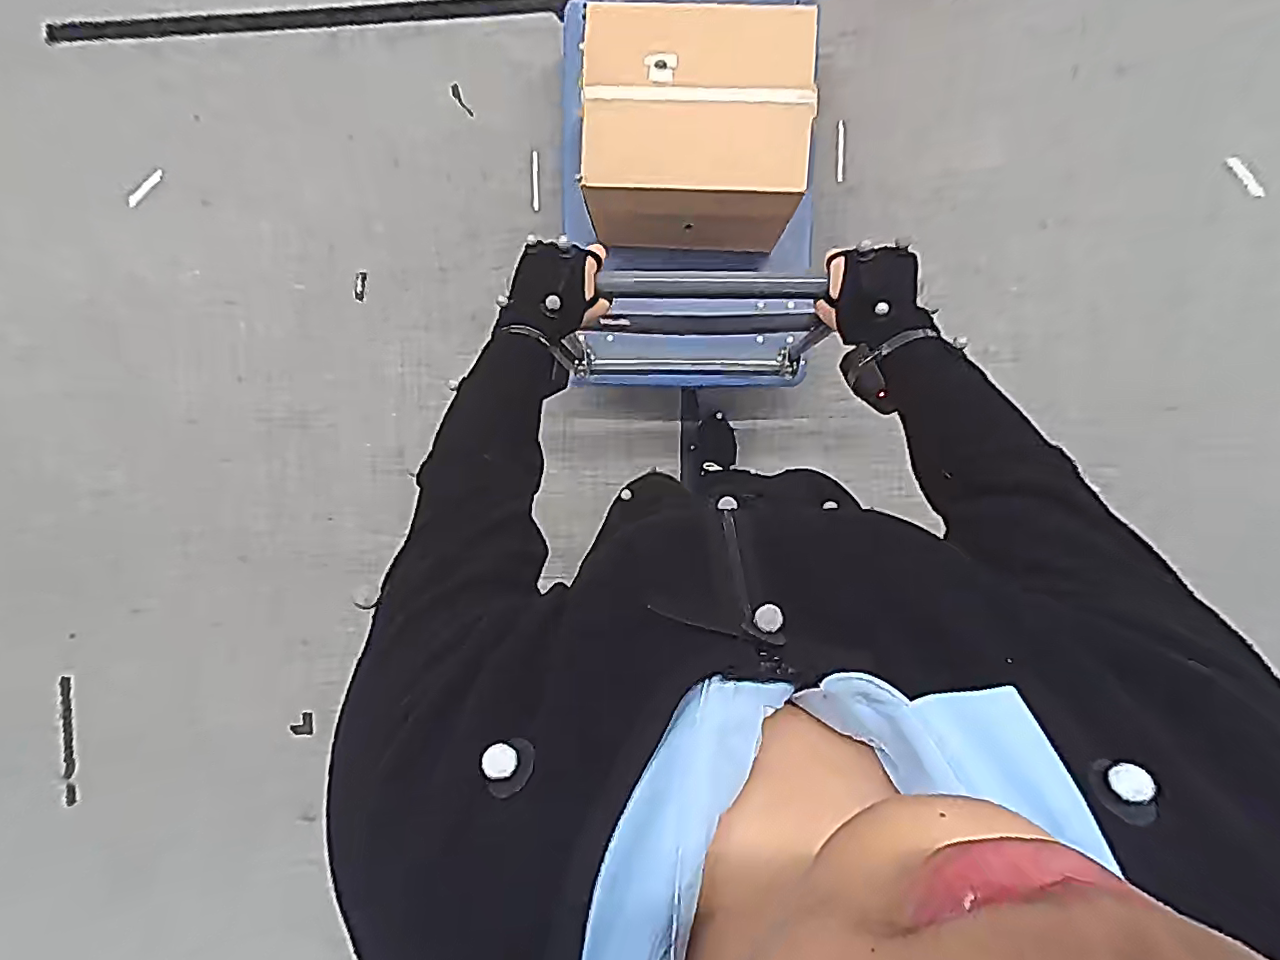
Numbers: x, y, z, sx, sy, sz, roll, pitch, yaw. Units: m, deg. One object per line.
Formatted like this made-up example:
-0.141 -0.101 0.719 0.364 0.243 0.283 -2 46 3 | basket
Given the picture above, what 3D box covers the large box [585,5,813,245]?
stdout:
0.112 -0.692 1.111 0.408 0.320 0.320 2 94 3 | large box
